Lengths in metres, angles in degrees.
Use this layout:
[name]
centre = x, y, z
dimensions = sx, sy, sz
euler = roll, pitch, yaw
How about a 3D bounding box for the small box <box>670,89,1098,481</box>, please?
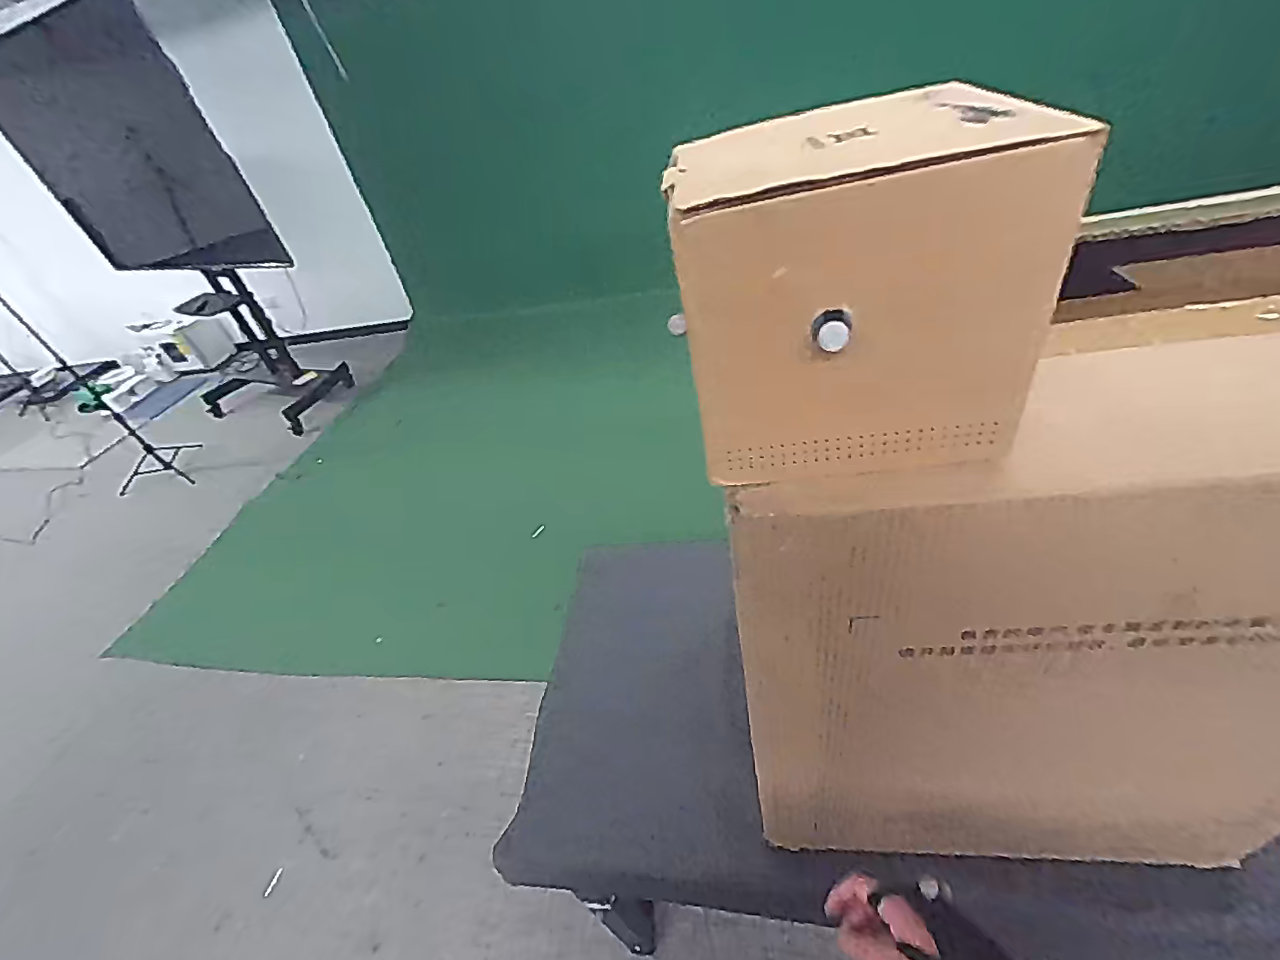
[small box]
centre = 0.122, -0.114, 0.338
dimensions = 0.179, 0.176, 0.168
euler = -7, 41, 11
